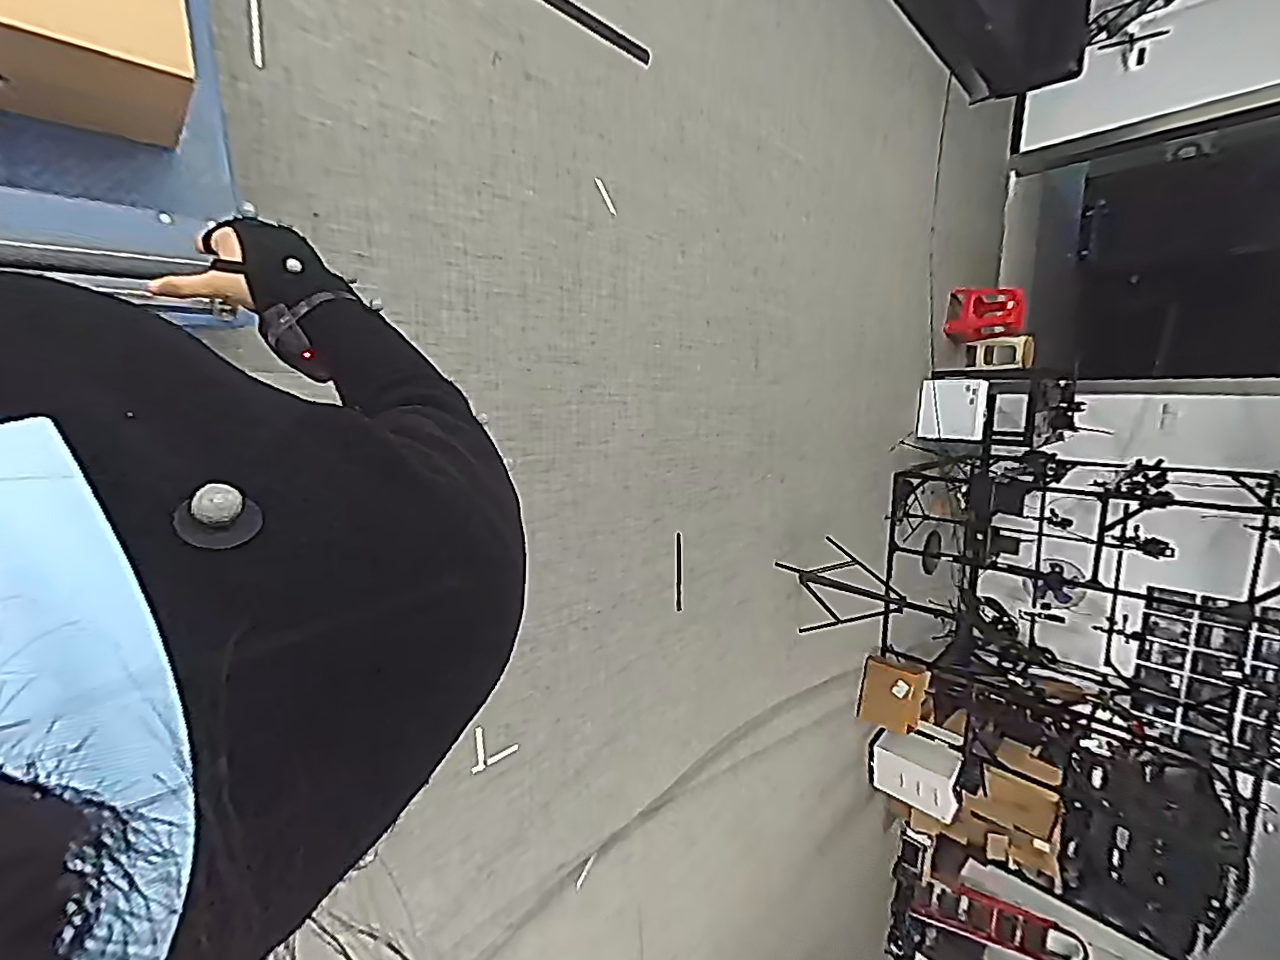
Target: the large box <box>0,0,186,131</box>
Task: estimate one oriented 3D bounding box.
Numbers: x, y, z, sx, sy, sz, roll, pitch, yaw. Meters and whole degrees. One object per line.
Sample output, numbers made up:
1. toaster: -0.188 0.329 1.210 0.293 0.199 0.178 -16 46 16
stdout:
1. large box: -0.894 -0.727 0.713 0.408 0.320 0.320 -10 104 -43
